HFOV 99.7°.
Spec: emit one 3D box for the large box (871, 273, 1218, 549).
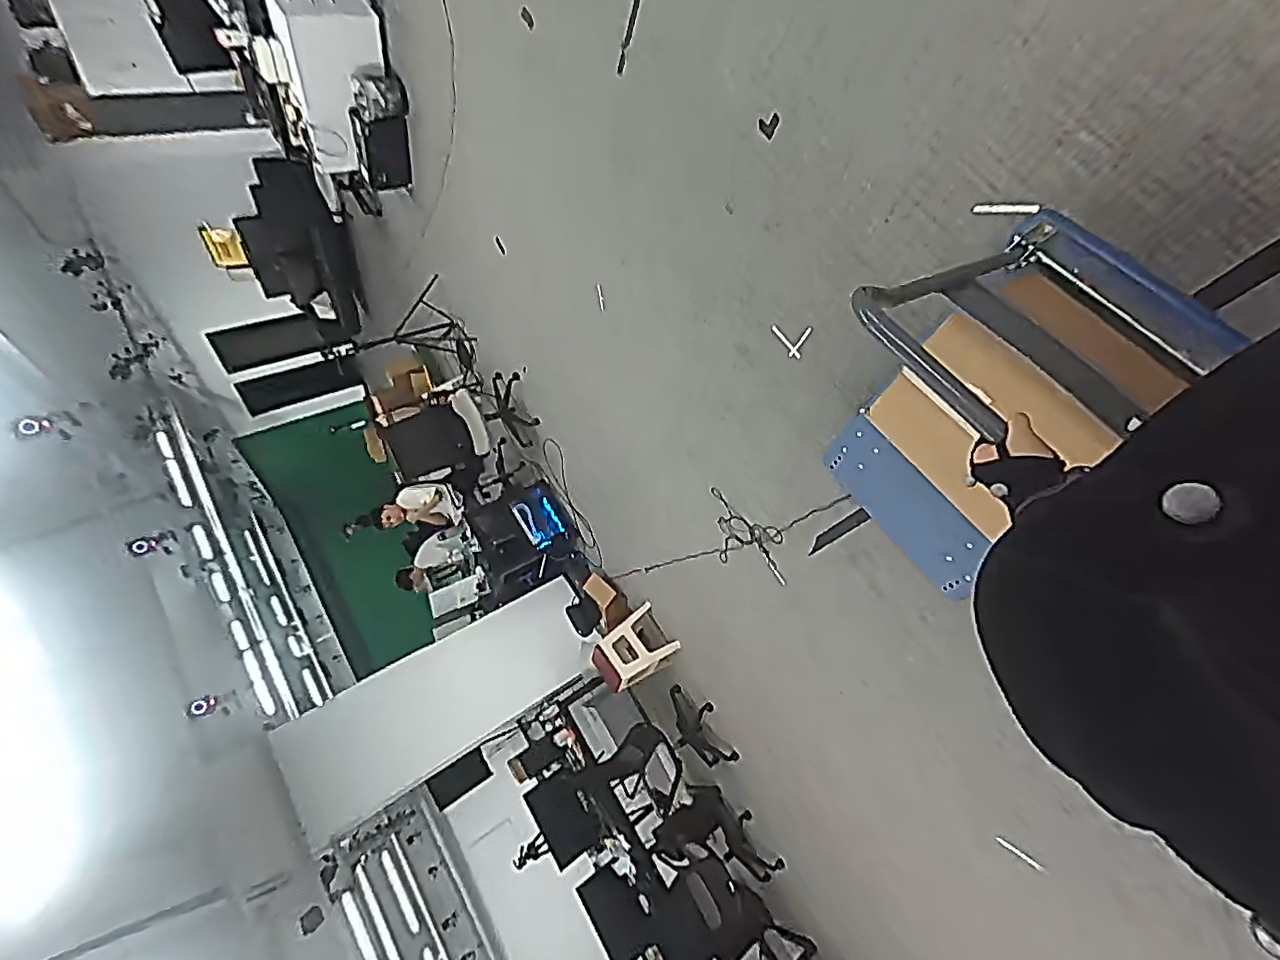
[{"bbox_3d":[0.779,-0.144,1.089,0.408,0.320,0.320,54,149,21],"label":"large box"}]
